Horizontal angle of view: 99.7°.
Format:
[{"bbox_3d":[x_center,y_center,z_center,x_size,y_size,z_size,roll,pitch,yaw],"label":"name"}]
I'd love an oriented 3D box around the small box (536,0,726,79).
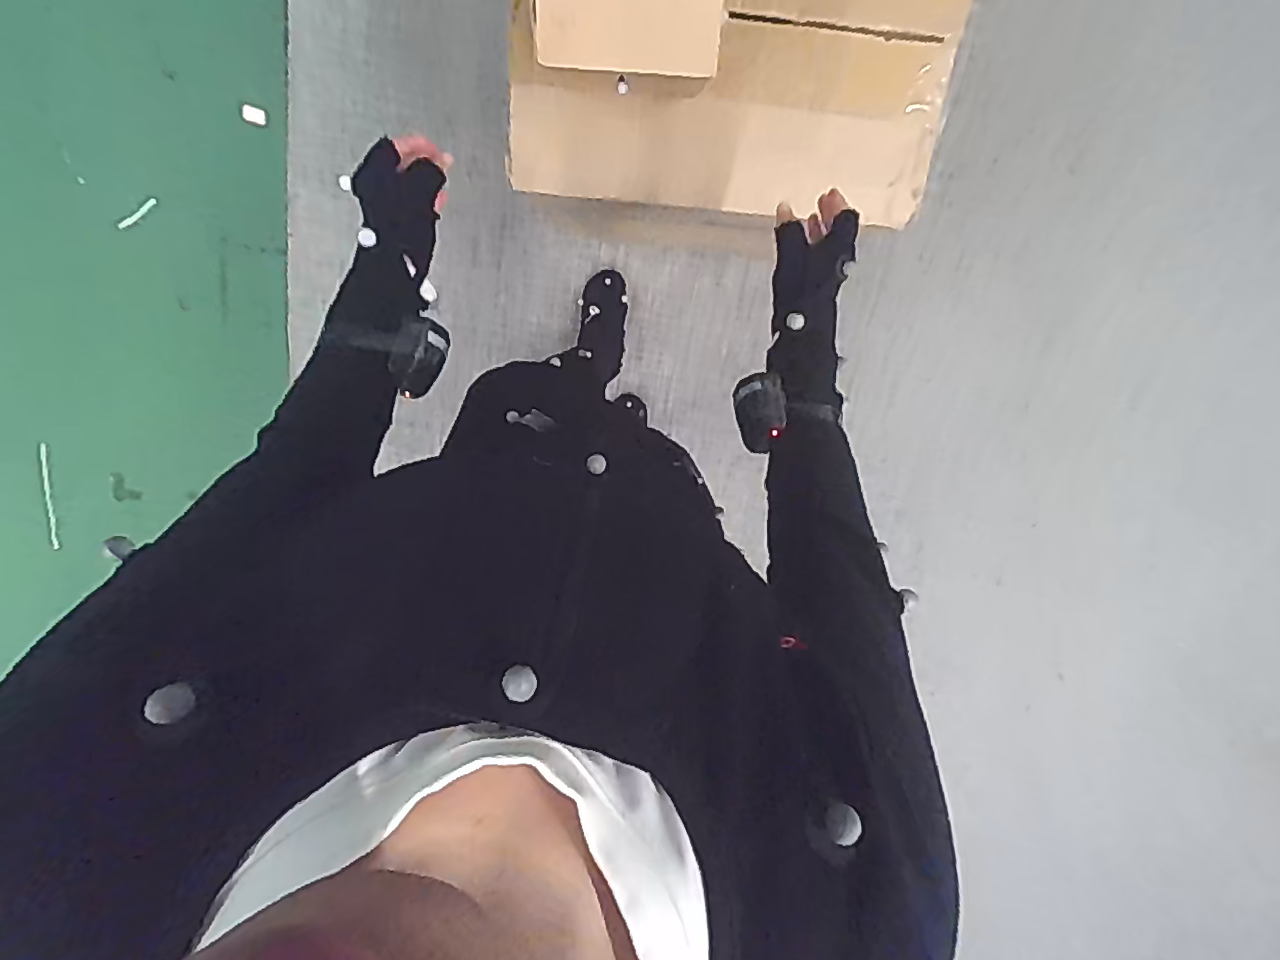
[{"bbox_3d":[-0.005,-0.514,0.541,0.179,0.176,0.168,2,122,-2],"label":"small box"}]
